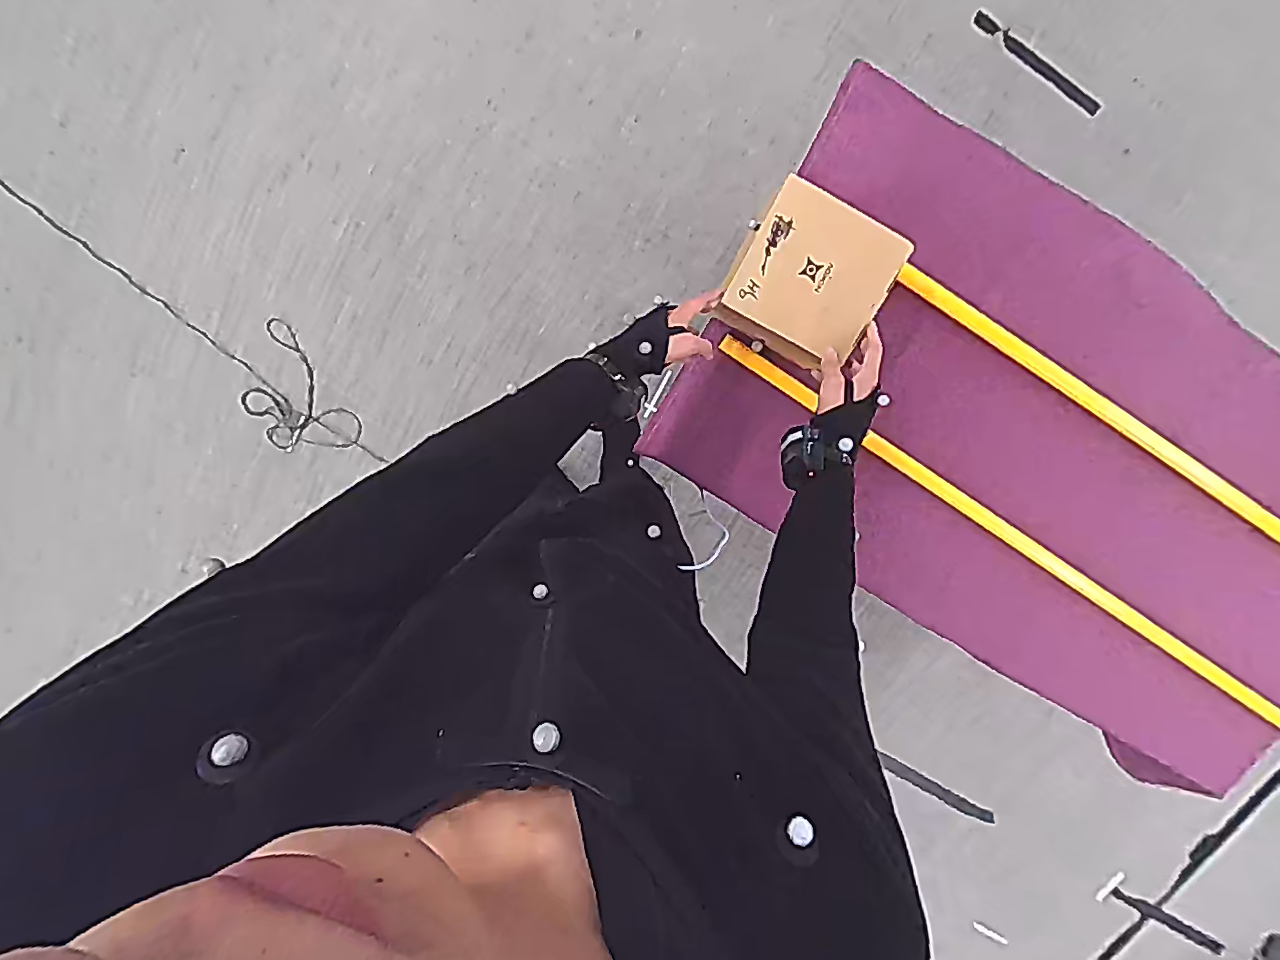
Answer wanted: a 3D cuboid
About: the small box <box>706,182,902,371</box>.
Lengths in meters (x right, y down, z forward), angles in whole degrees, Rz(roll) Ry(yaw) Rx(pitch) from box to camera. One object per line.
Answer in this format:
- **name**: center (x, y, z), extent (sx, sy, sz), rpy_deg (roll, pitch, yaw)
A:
- **small box**: center (0.209, -0.267, 0.743), extent (0.179, 0.176, 0.168), rpy_deg (28, 102, -6)
